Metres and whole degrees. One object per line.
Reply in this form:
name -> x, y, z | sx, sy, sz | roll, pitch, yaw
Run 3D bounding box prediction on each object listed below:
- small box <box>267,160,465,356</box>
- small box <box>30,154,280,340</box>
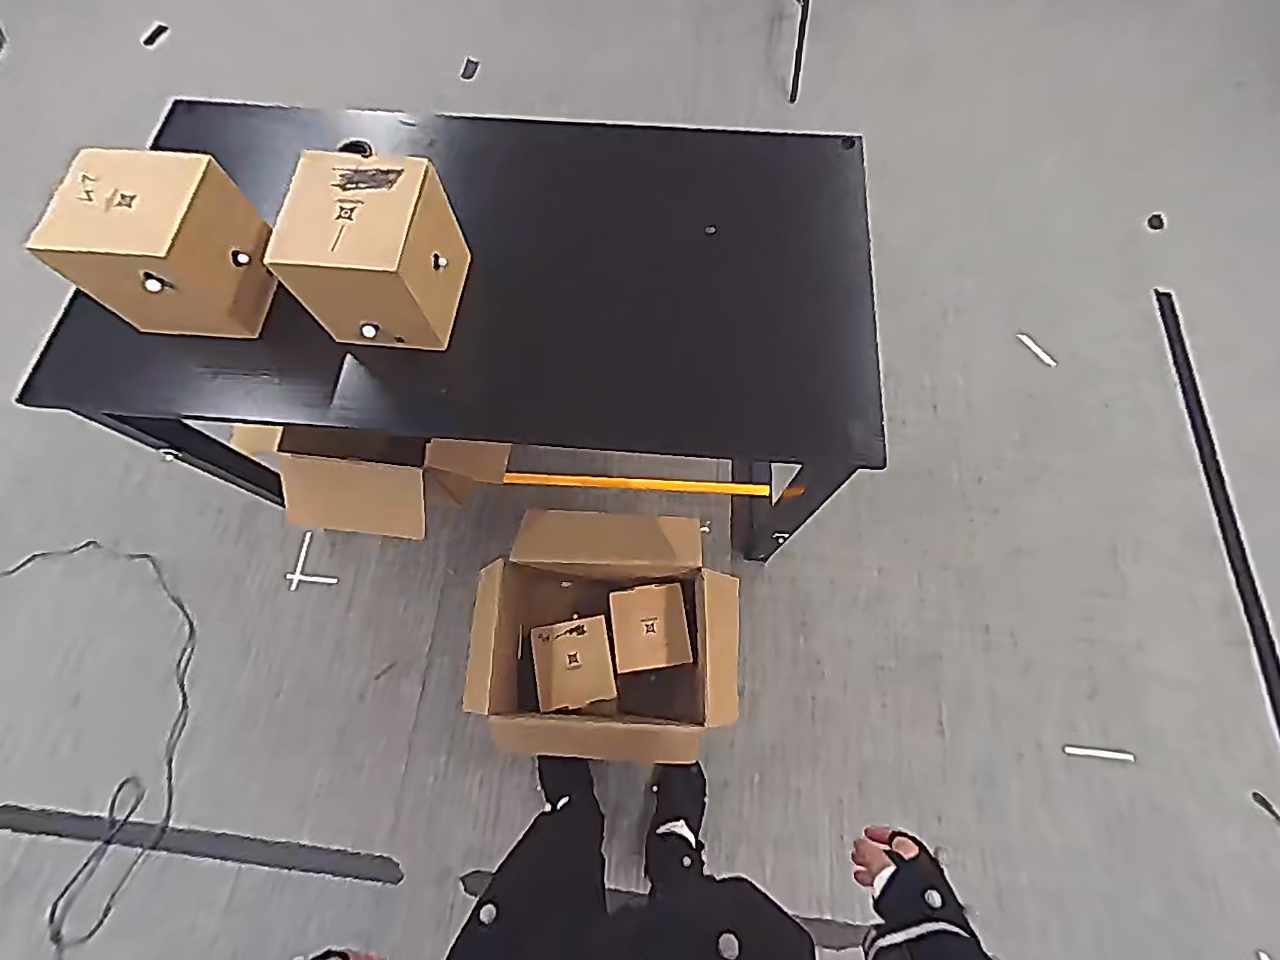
small box -> -0.353, -0.296, 0.740 | 0.168, 0.176, 0.179 | 5, 71, 3
small box -> -0.638, -0.310, 0.745 | 0.179, 0.176, 0.168 | 4, 69, 2
